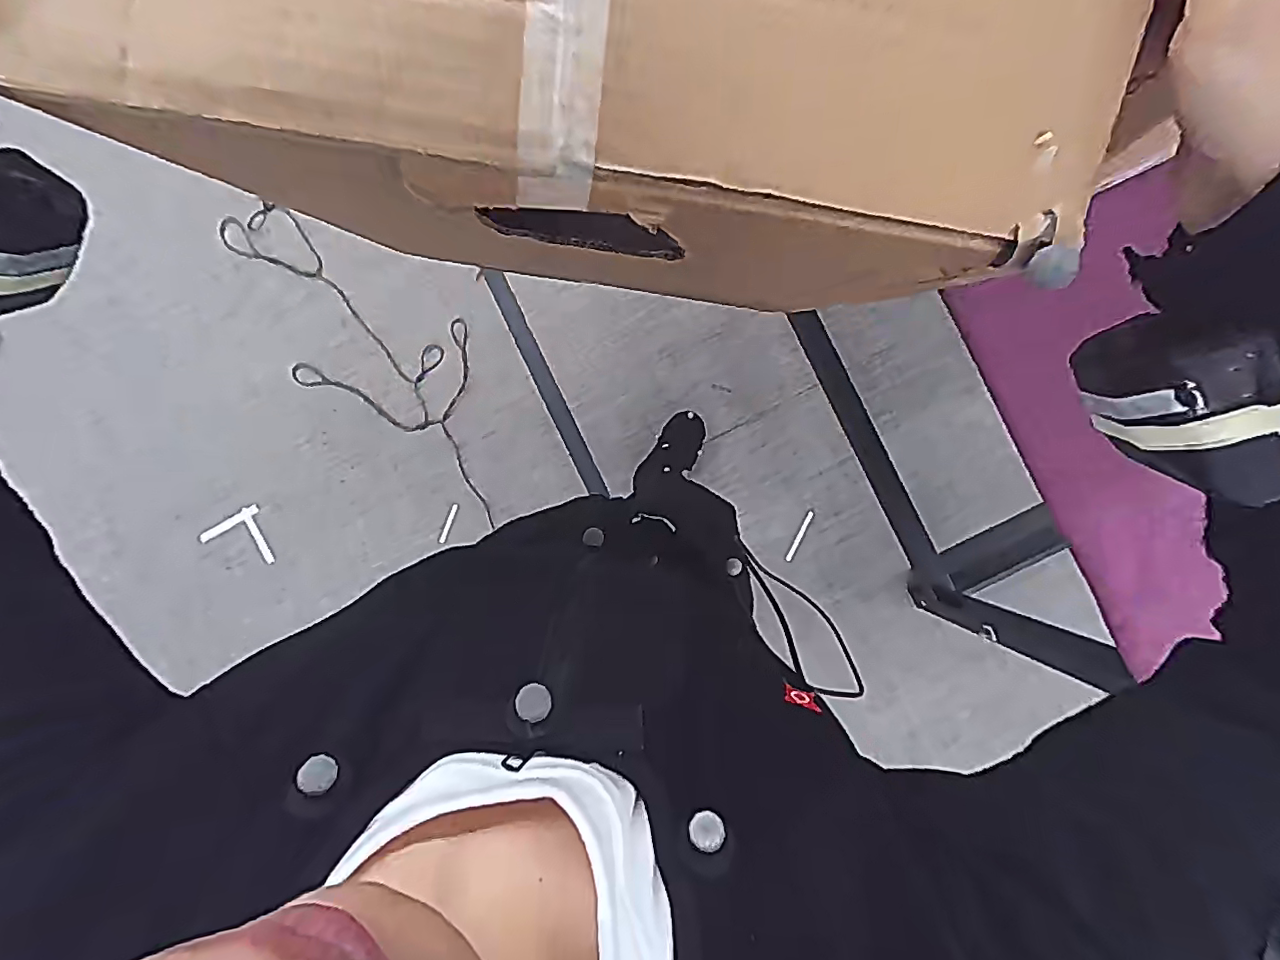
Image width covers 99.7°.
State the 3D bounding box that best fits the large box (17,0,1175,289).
[{"bbox_3d":[0.006,-0.325,0.244,0.320,0.320,0.408,7,105,-3],"label":"large box"}]
